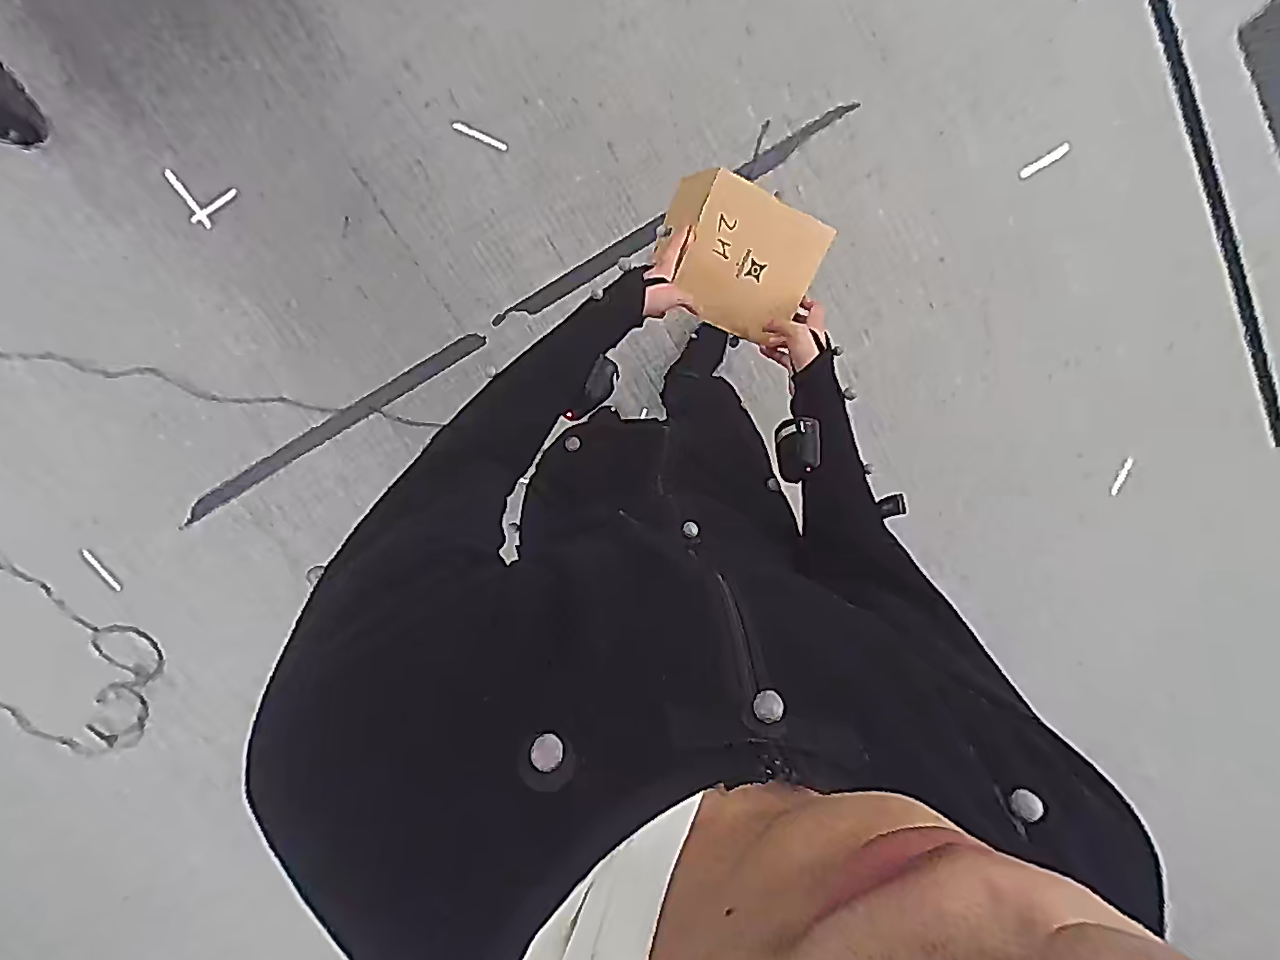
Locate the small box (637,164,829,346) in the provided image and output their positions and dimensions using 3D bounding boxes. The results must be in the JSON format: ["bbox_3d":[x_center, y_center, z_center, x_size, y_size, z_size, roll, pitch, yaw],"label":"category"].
[{"bbox_3d":[0.115,-0.307,0.744,0.179,0.176,0.168,17,110,-19],"label":"small box"}]
